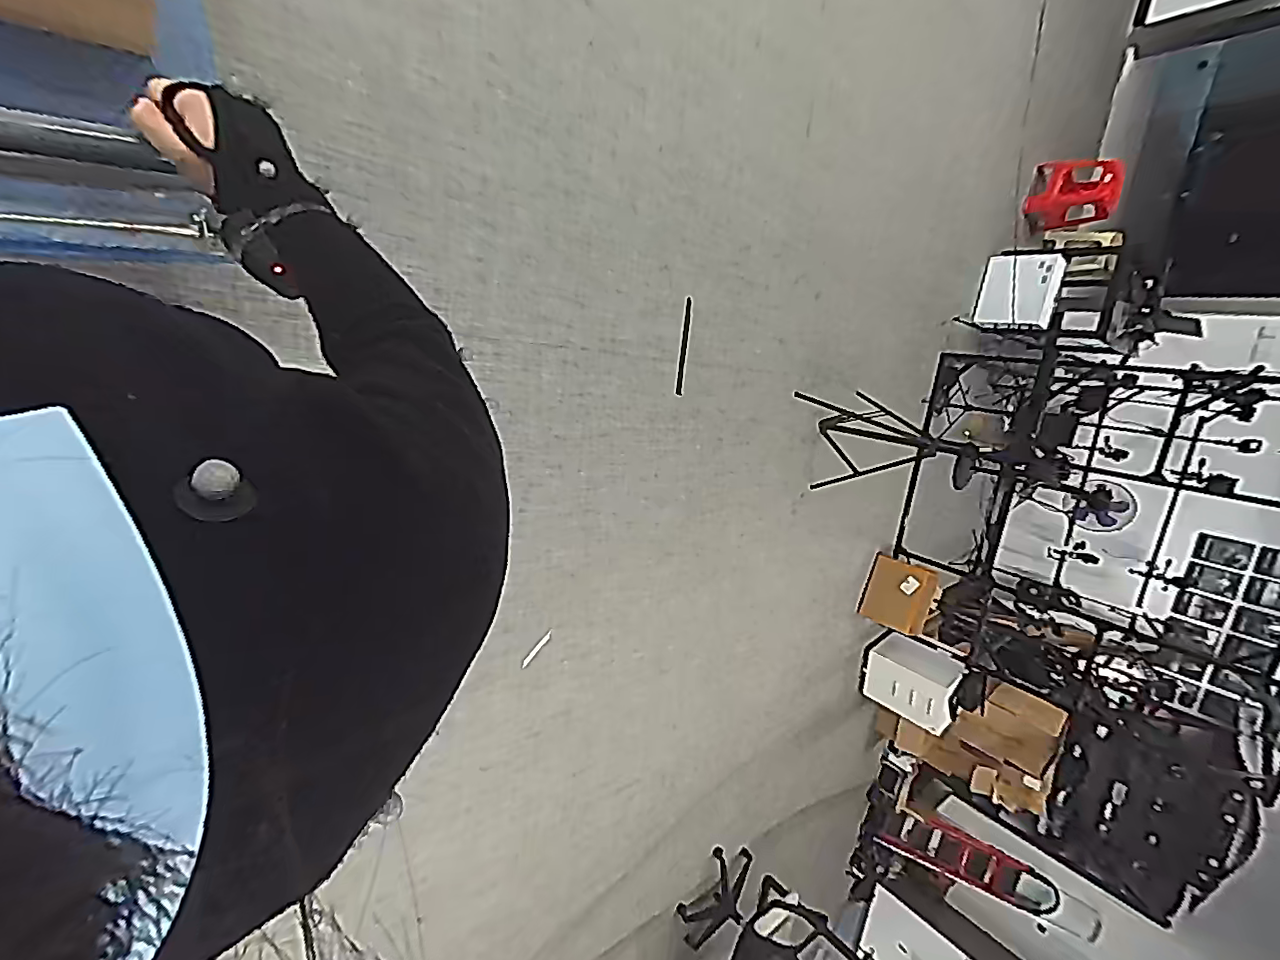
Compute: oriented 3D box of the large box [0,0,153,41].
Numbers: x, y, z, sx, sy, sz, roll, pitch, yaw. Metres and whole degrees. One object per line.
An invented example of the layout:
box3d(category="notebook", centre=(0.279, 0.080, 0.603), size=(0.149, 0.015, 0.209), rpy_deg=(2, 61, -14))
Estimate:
box3d(category="large box", centre=(-0.859, -0.782, 0.617), size=(0.408, 0.320, 0.320), rpy_deg=(-13, 113, -38))
